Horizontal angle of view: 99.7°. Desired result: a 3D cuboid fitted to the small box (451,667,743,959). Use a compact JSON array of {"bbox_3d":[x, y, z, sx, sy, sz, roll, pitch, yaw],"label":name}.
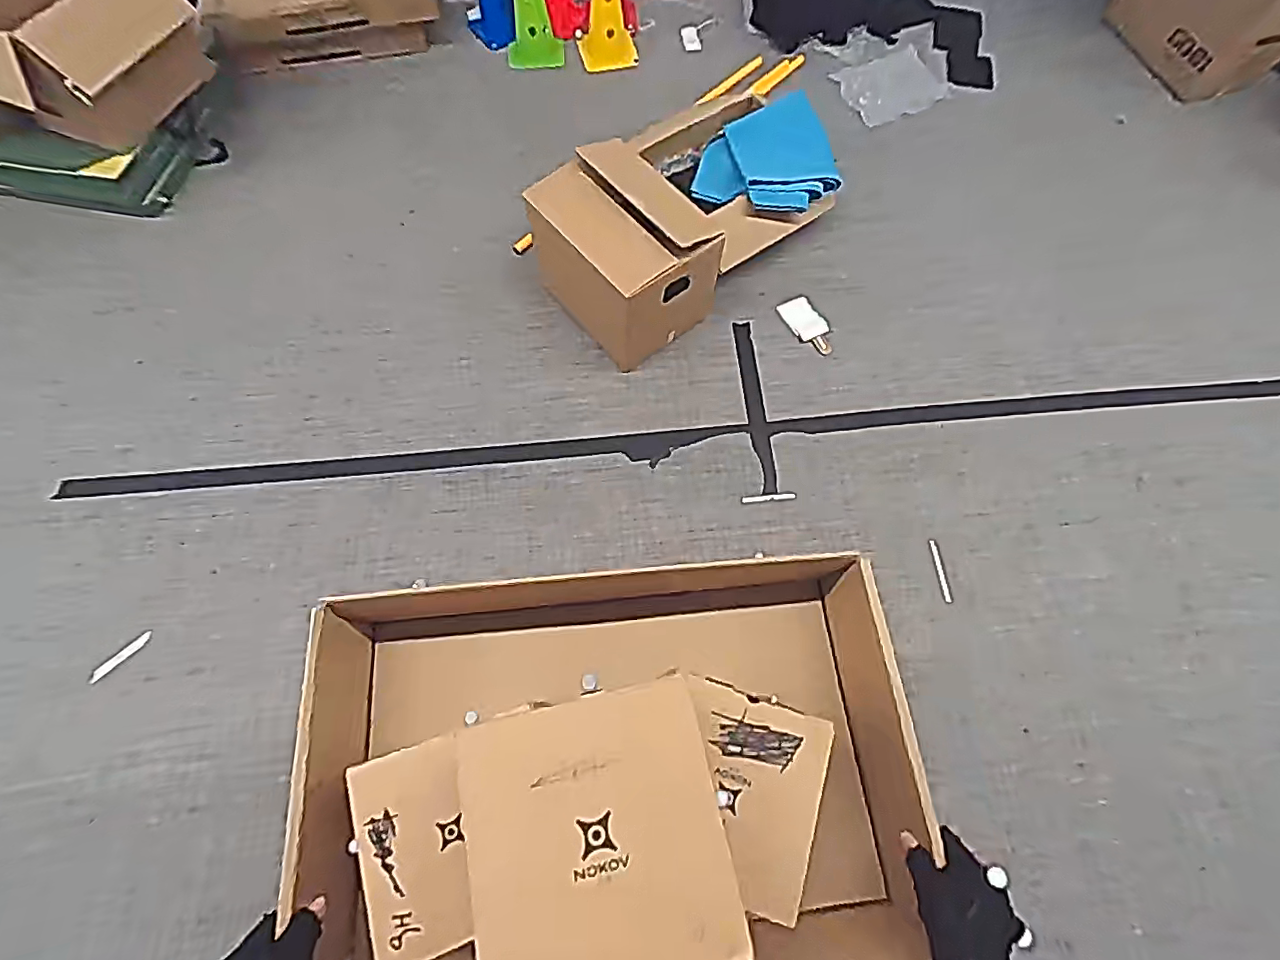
[{"bbox_3d":[-0.037,0.256,0.423,0.168,0.176,0.179,-11,69,-9],"label":"small box"}]
